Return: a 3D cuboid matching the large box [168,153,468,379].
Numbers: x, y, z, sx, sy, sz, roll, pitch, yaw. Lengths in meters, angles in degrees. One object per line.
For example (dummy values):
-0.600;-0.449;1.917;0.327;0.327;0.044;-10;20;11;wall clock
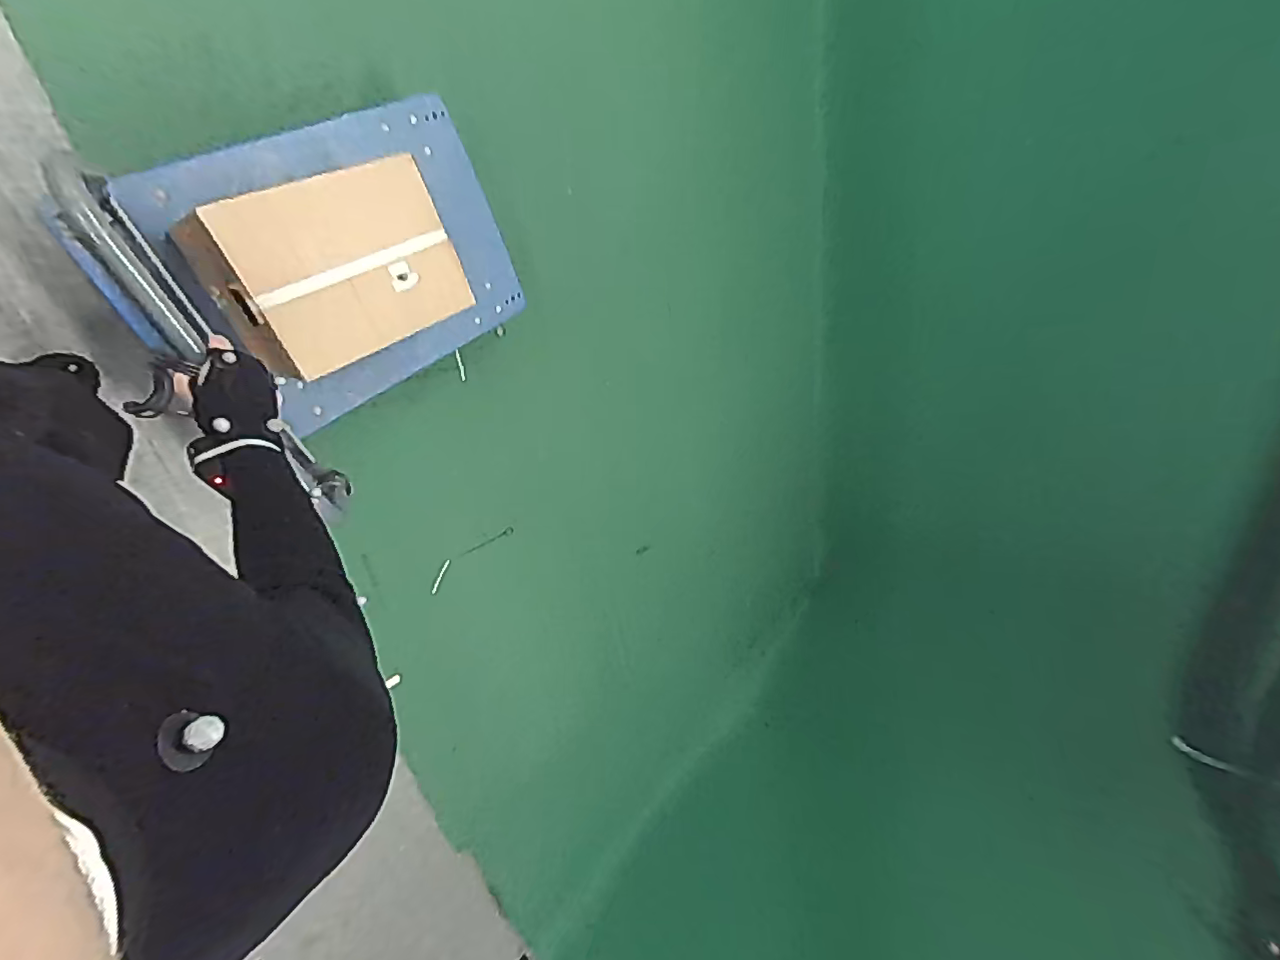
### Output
-0.664;-0.447;1.151;0.408;0.320;0.320;-42;129;-33;large box
